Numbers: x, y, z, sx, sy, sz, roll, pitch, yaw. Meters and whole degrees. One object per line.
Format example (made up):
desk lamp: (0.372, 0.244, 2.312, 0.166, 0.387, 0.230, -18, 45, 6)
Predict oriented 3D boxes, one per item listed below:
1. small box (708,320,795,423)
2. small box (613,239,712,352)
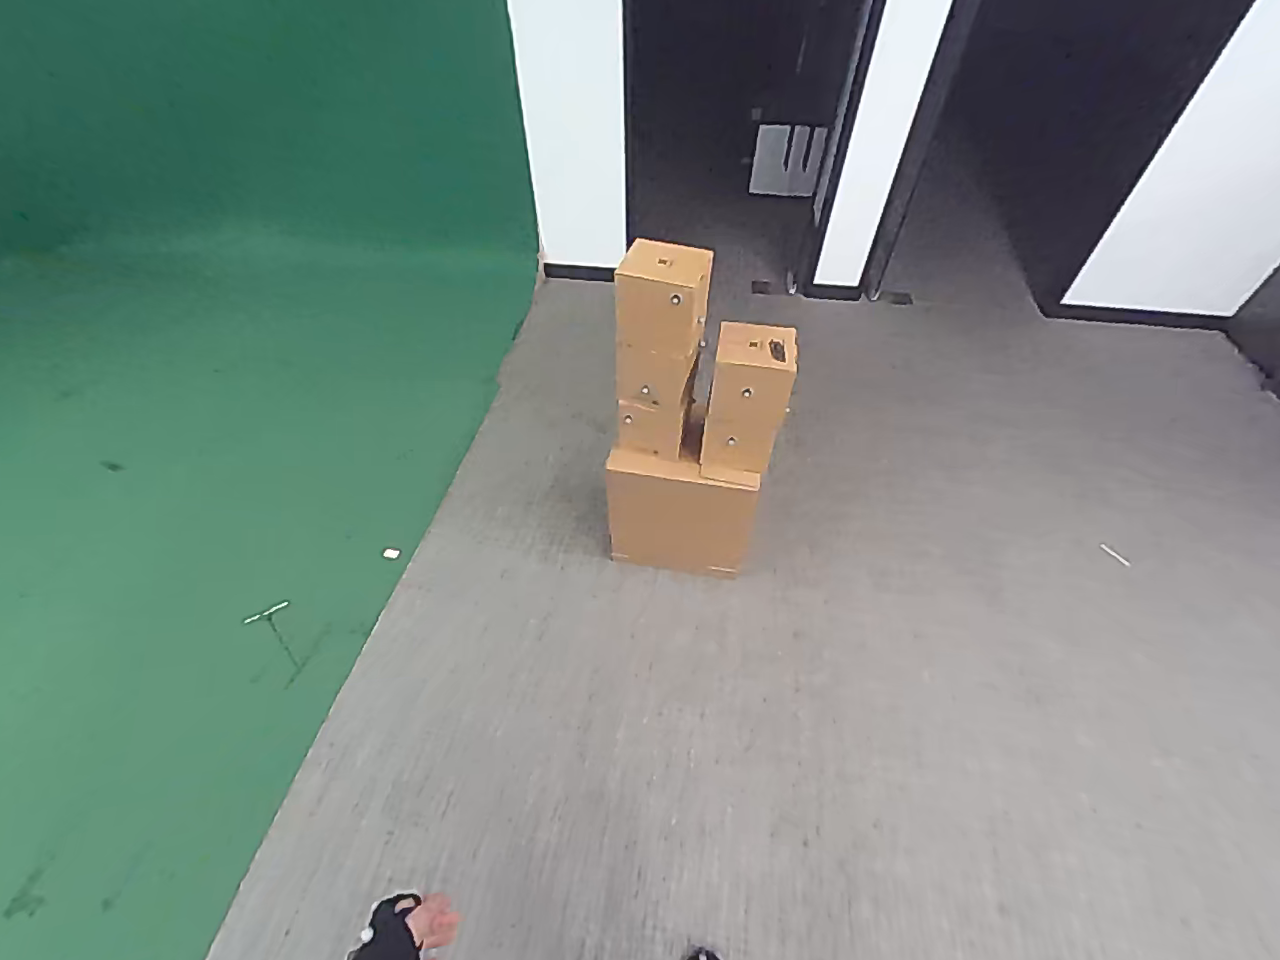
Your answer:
small box: (0.262, -0.252, 1.277, 0.179, 0.176, 0.168, 7, 50, 8)
small box: (0.048, -0.403, 1.192, 0.179, 0.176, 0.168, 14, 50, 9)
